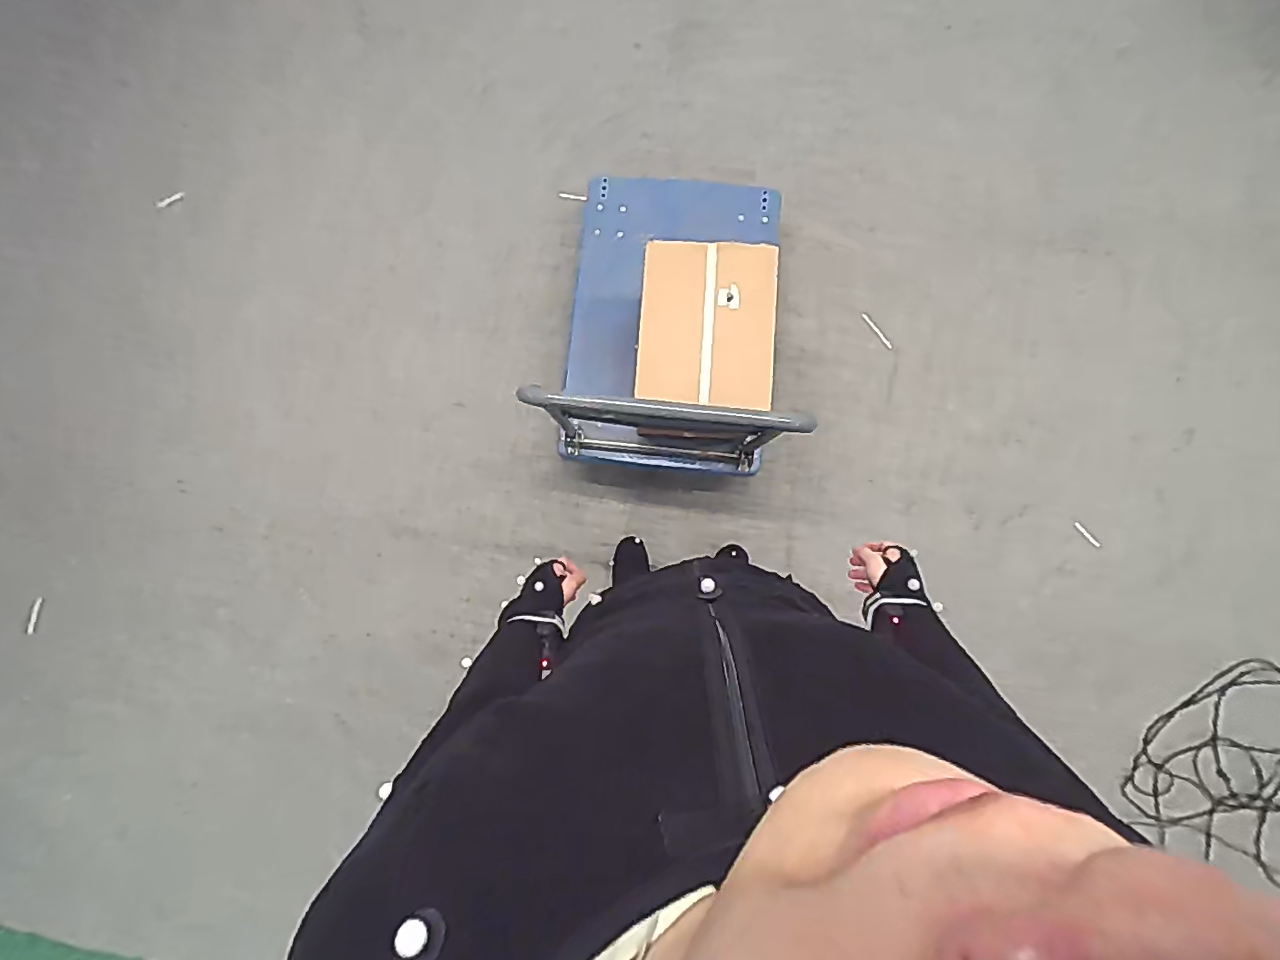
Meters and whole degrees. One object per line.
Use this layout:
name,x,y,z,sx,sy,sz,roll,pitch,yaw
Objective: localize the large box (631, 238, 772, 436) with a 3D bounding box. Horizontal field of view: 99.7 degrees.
large box,0.148,-0.342,1.384,0.320,0.320,0.408,4,83,1
